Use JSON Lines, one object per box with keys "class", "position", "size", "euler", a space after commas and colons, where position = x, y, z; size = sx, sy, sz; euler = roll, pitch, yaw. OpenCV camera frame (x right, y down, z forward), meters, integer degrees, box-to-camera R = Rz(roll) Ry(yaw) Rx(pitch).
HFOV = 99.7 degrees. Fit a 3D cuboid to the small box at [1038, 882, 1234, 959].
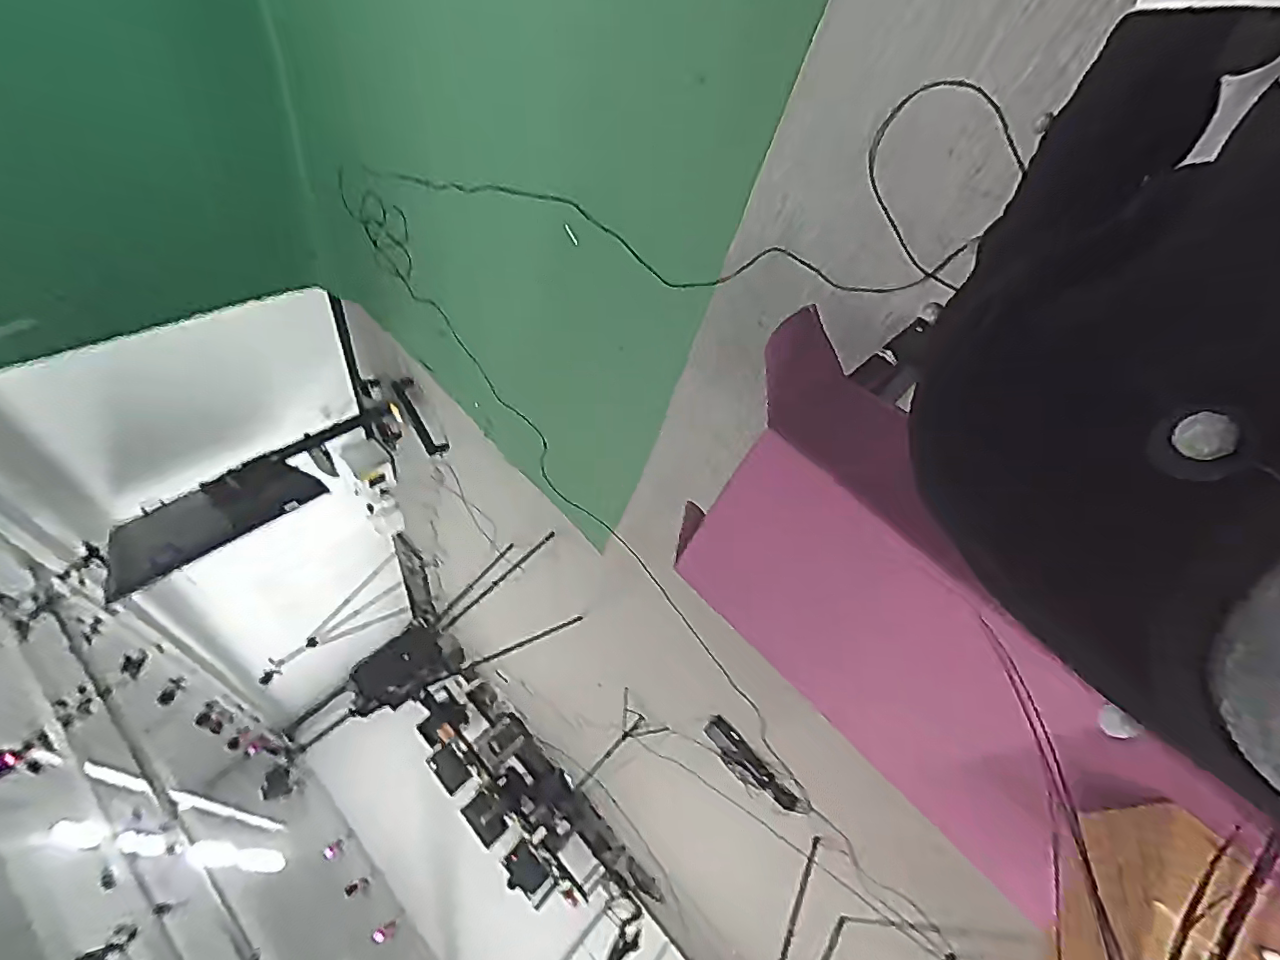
{"class": "small box", "position": [0.692, 0.695, 0.747], "size": [0.168, 0.176, 0.179], "euler": [41, 146, 19]}
